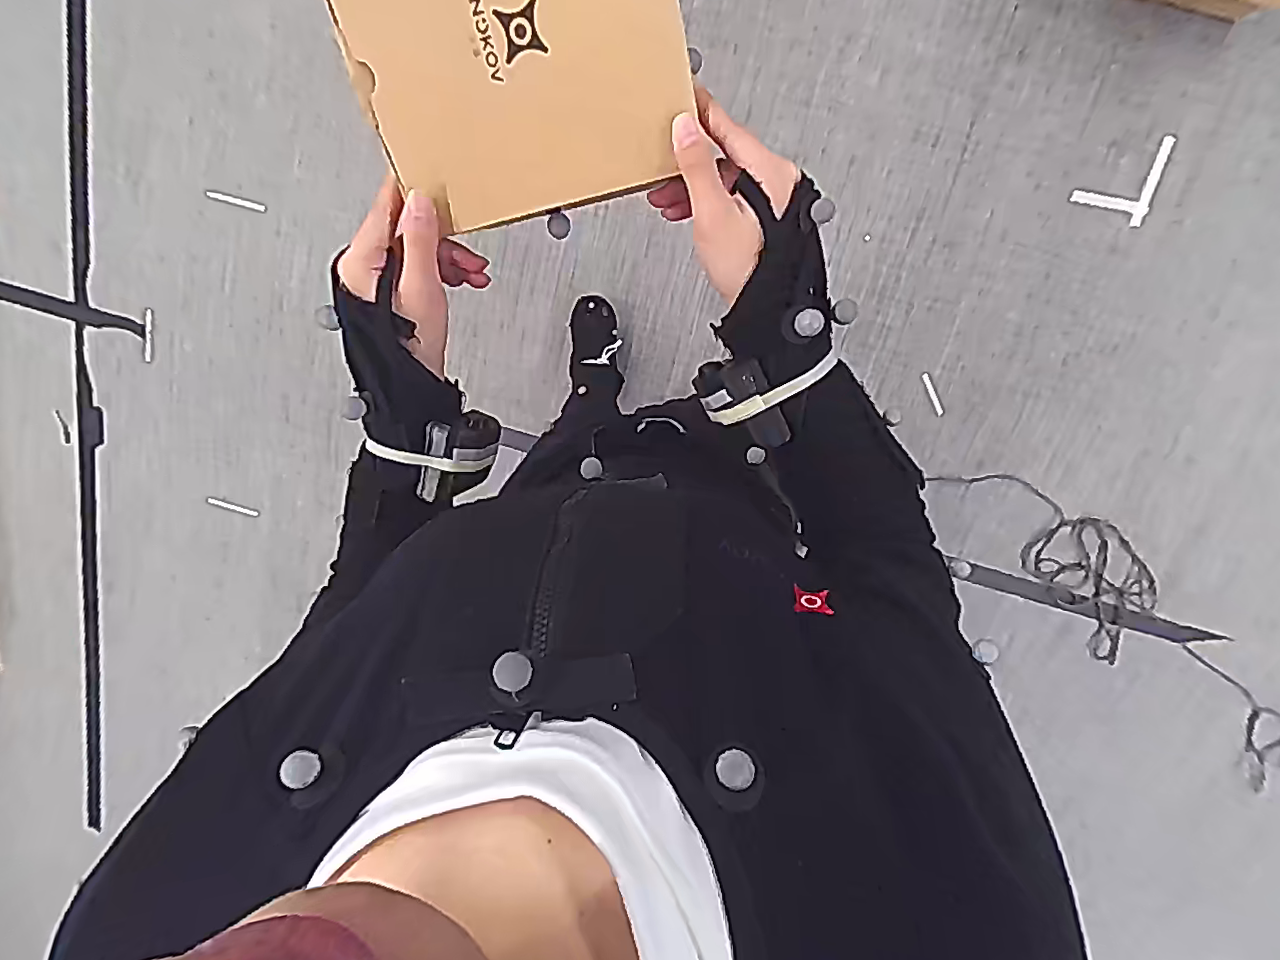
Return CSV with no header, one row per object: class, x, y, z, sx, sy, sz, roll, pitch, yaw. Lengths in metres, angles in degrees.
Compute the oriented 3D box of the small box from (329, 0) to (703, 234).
small box,-0.066,-0.269,0.346,0.179,0.176,0.168,-11,117,6
